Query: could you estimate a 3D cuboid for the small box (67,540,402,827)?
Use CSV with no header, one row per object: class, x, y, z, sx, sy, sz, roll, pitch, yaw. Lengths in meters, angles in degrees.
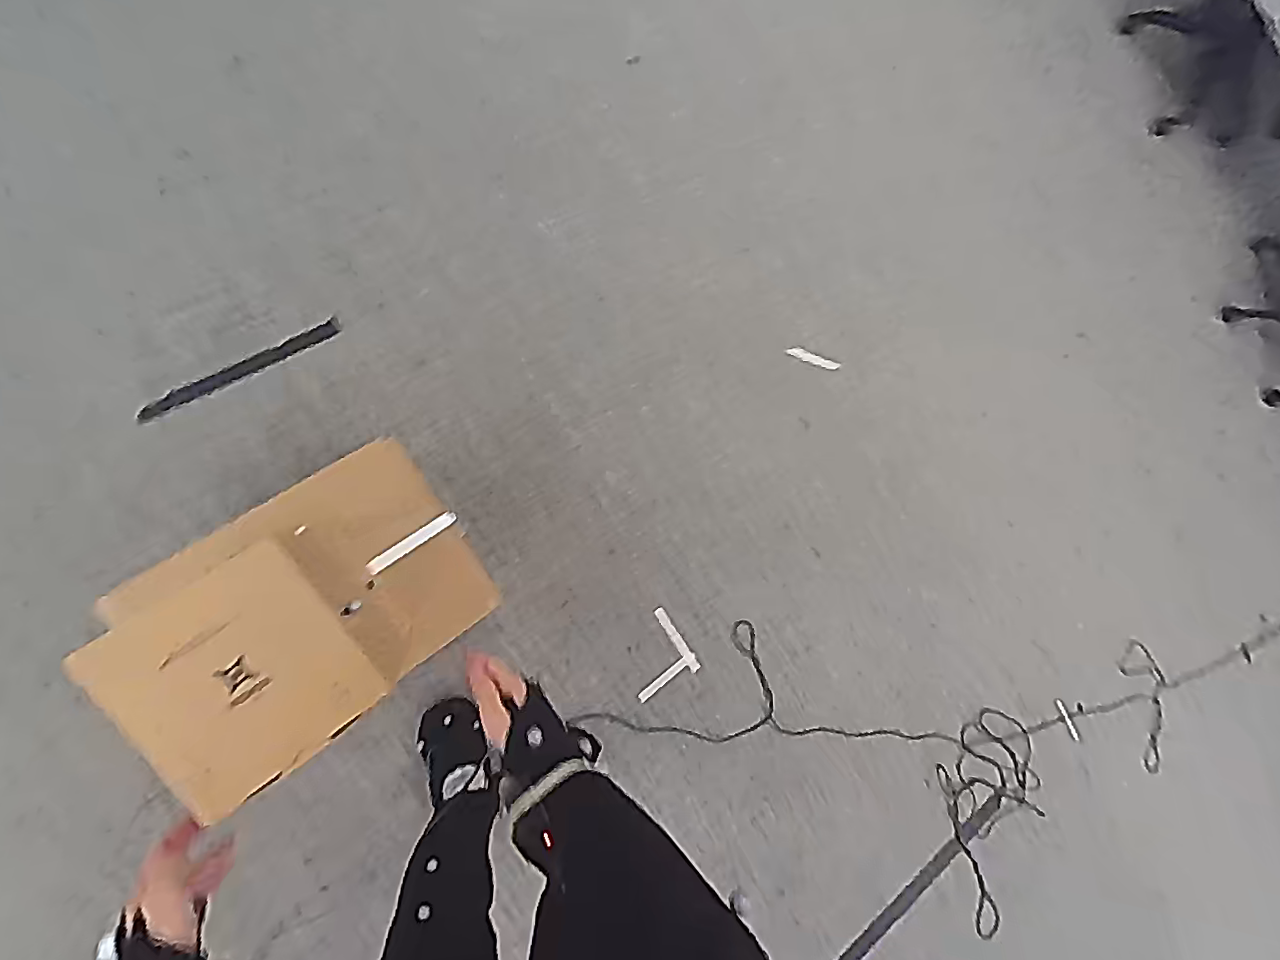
small box,-0.354,0.170,0.521,0.168,0.176,0.179,-37,97,-18
